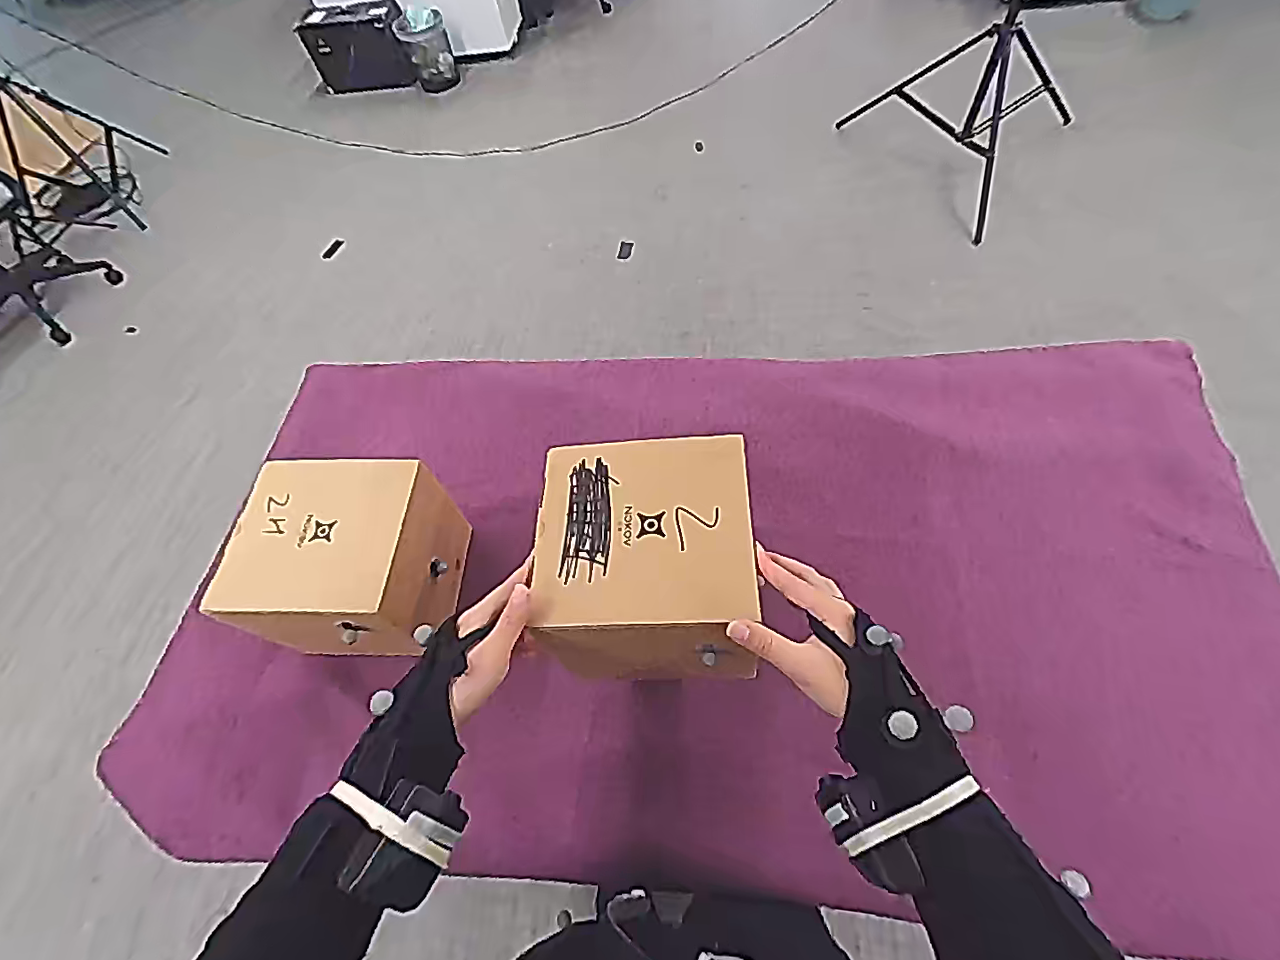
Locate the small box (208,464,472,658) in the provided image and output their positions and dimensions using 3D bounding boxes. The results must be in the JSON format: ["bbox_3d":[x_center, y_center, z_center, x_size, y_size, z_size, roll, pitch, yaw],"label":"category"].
[{"bbox_3d":[-0.308,0.095,0.604,0.179,0.176,0.168,0,59,5],"label":"small box"}]
